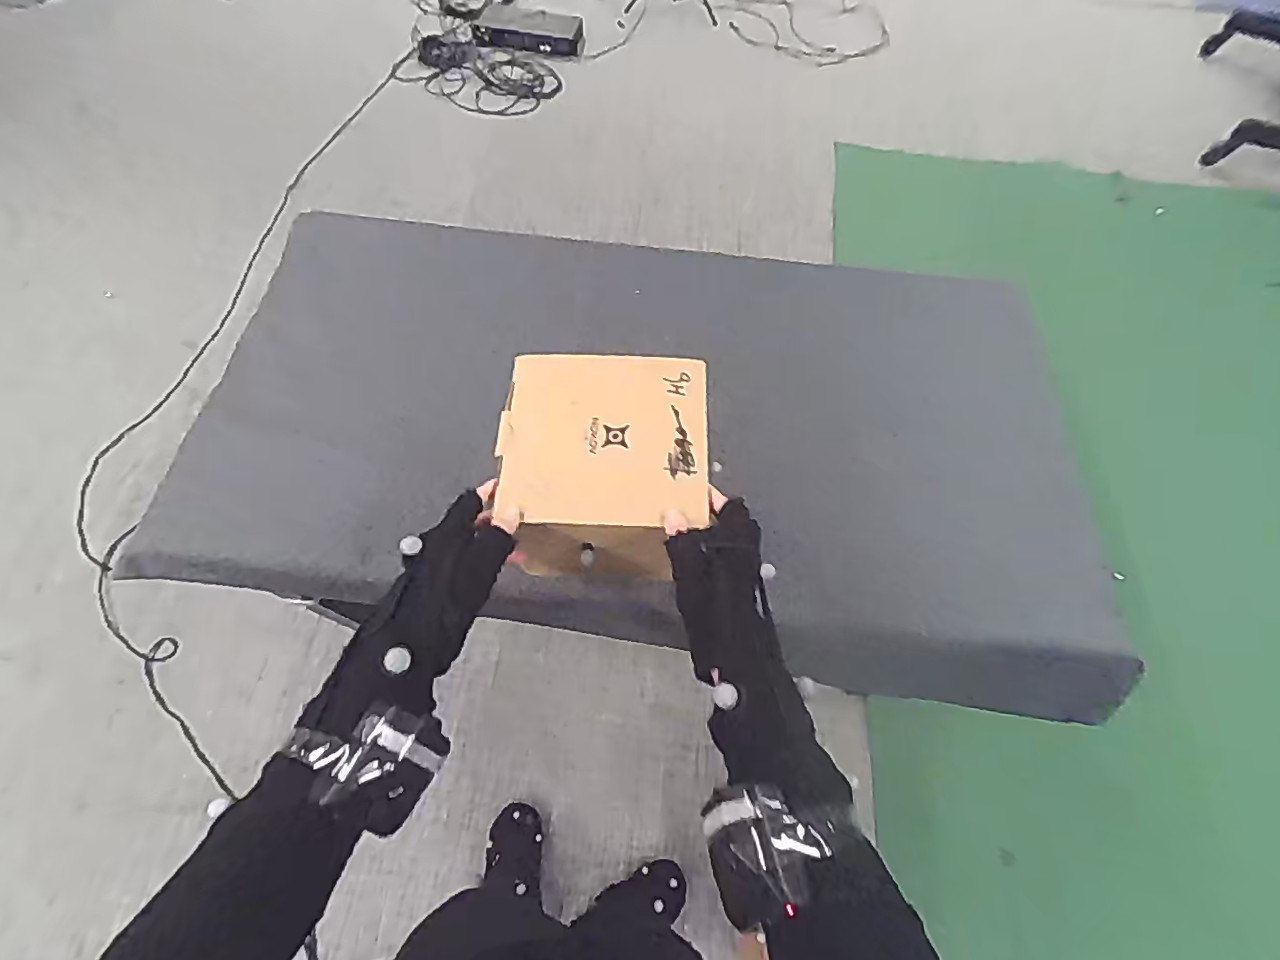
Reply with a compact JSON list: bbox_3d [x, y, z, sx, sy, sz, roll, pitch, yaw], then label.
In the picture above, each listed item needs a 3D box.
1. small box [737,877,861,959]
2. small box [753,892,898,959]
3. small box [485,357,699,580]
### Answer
[{"bbox_3d":[0.295,0.878,1.021,0.179,0.176,0.168,13,62,5],"label":"small box"},{"bbox_3d":[0.292,0.799,0.876,0.179,0.176,0.168,13,62,4],"label":"small box"},{"bbox_3d":[-0.035,-0.003,0.540,0.179,0.176,0.168,3,65,1],"label":"small box"}]
